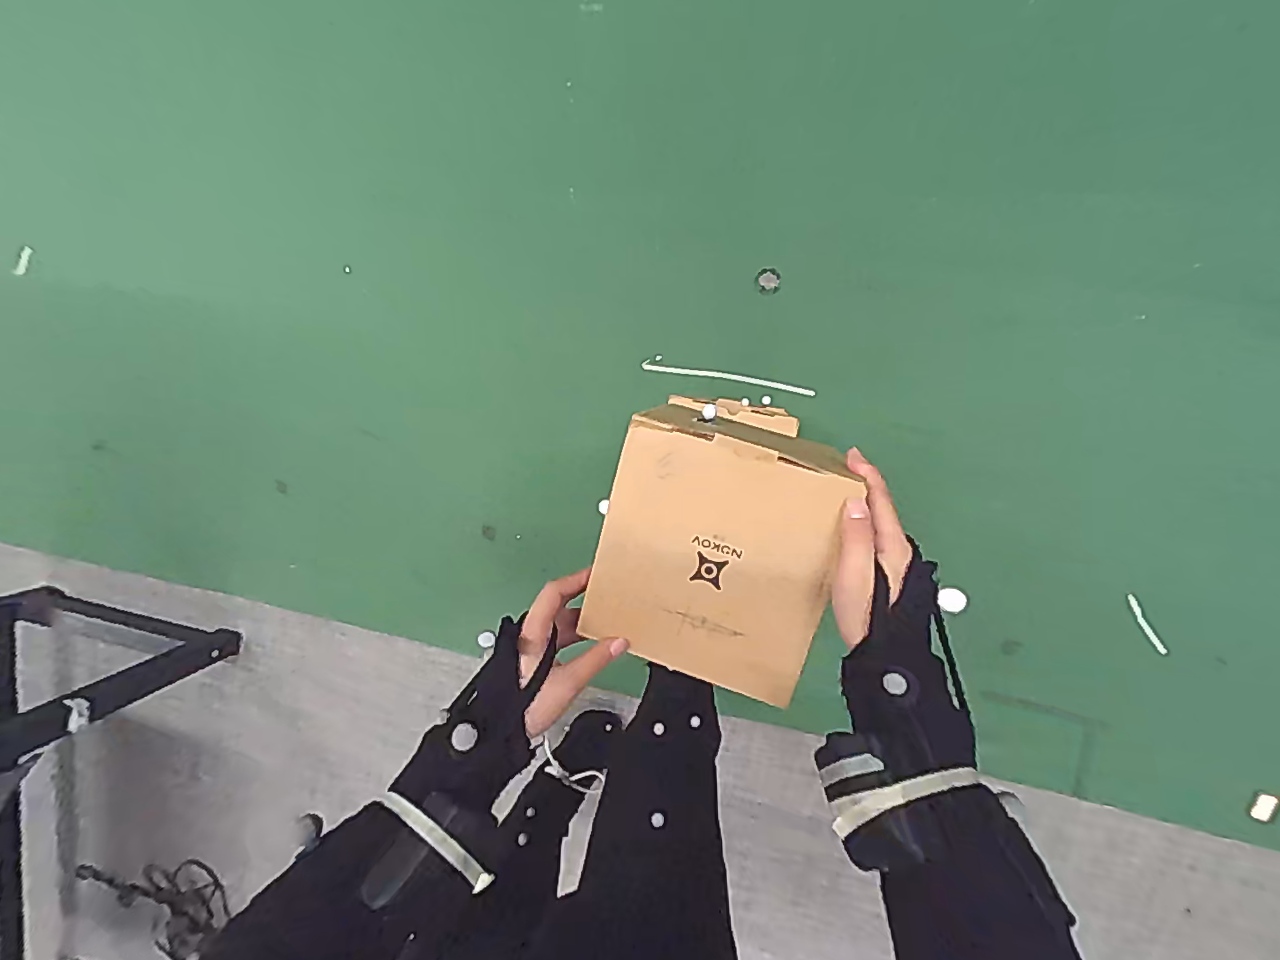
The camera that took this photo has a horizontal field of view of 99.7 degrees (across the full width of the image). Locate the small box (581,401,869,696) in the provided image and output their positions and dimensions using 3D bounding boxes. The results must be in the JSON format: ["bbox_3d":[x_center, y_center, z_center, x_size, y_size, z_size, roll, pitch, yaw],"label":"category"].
[{"bbox_3d":[0.069,0.037,0.455,0.168,0.176,0.179,16,105,10],"label":"small box"}]

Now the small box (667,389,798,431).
[{"bbox_3d":[0.115,-0.026,0.759,0.168,0.176,0.179,12,100,9],"label":"small box"}]
